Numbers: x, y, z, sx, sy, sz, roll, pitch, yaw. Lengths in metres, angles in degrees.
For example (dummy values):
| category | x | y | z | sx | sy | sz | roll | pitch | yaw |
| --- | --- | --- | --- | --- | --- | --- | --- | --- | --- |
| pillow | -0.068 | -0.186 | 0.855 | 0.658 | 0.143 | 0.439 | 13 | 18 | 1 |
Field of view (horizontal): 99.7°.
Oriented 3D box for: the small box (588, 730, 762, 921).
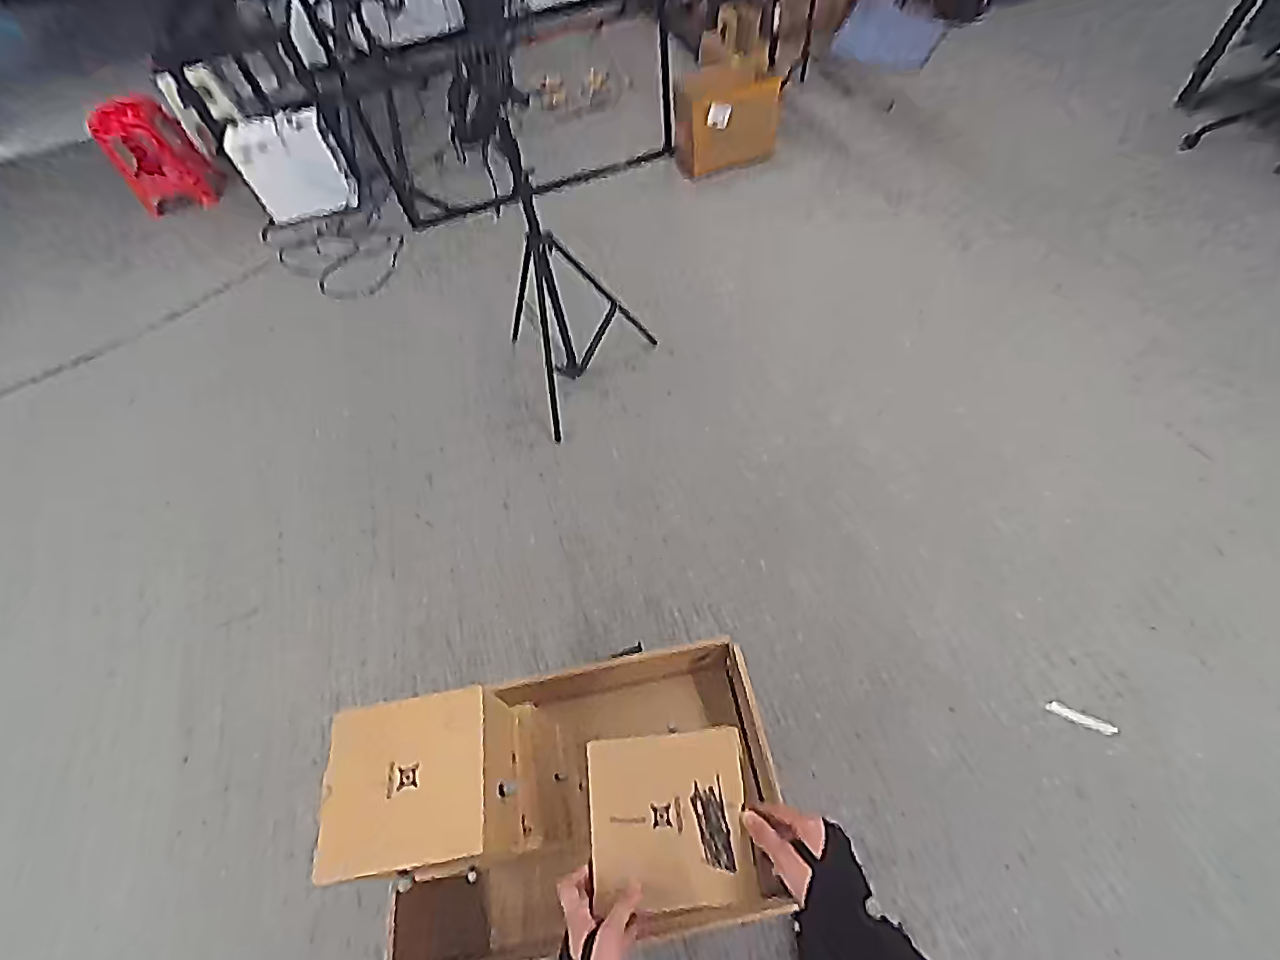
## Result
| category | x | y | z | sx | sy | sz | roll | pitch | yaw |
| --- | --- | --- | --- | --- | --- | --- | --- | --- | --- |
| small box | 0.037 | 0.399 | 0.653 | 0.179 | 0.176 | 0.168 | -6 | 66 | 2 |

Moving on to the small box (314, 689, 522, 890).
| category | x | y | z | sx | sy | sz | roll | pitch | yaw |
| --- | --- | --- | --- | --- | --- | --- | --- | --- | --- |
| small box | -0.244 | 0.366 | 0.644 | 0.179 | 0.176 | 0.168 | -11 | 56 | -2 |

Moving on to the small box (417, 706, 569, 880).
| category | x | y | z | sx | sy | sz | roll | pitch | yaw |
| --- | --- | --- | --- | --- | --- | --- | --- | --- | --- |
| small box | -0.206 | 0.452 | 0.780 | 0.168 | 0.176 | 0.179 | -13 | 55 | -3 |
